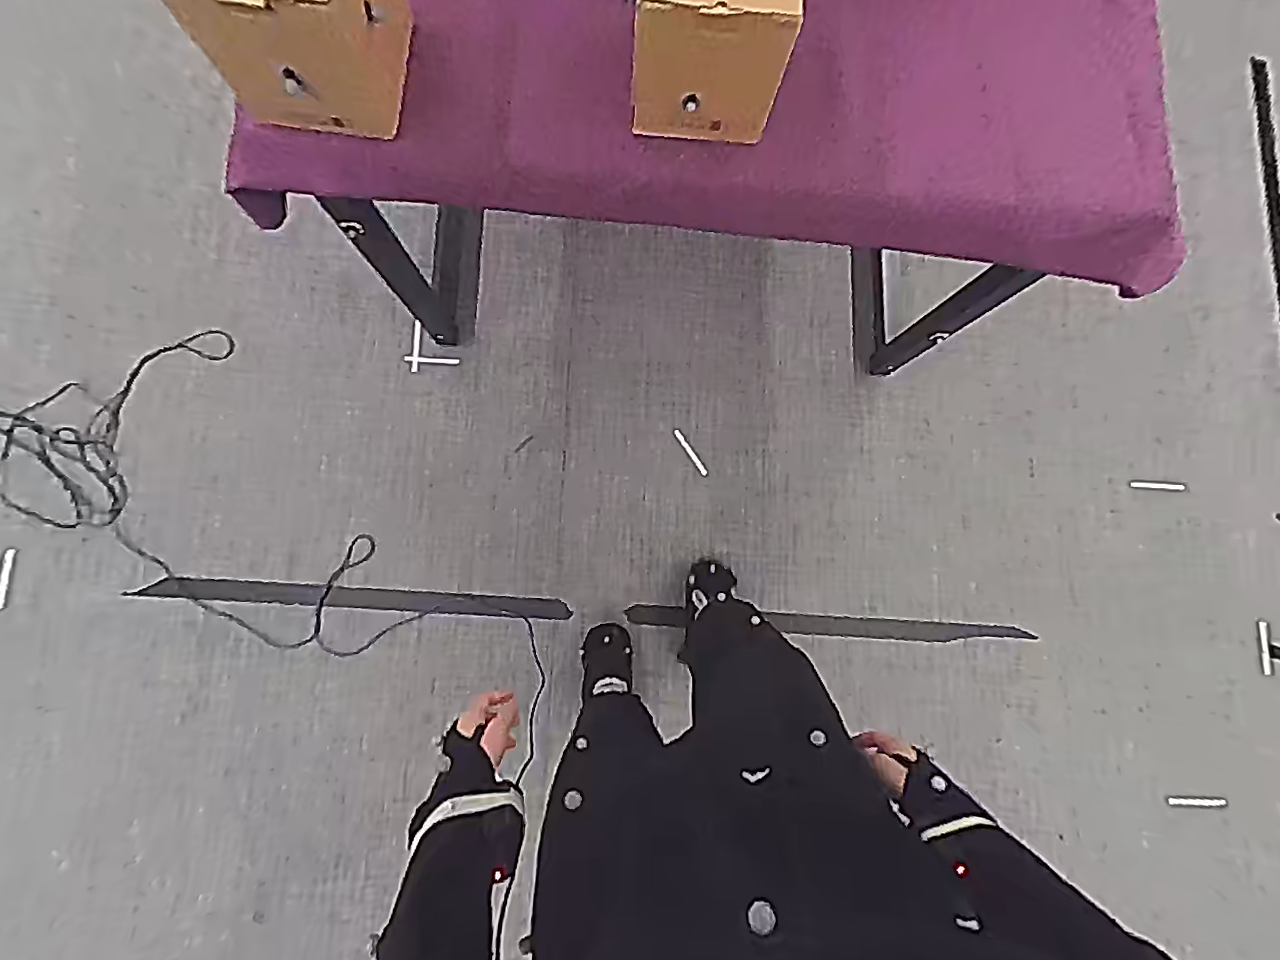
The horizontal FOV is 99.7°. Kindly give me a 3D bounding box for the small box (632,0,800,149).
[{"bbox_3d":[0.078,-0.532,0.632,0.168,0.176,0.179,2,82,-3],"label":"small box"}]

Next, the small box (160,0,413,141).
[{"bbox_3d":[-0.369,-0.517,0.599,0.168,0.176,0.179,5,83,-4],"label":"small box"}]
